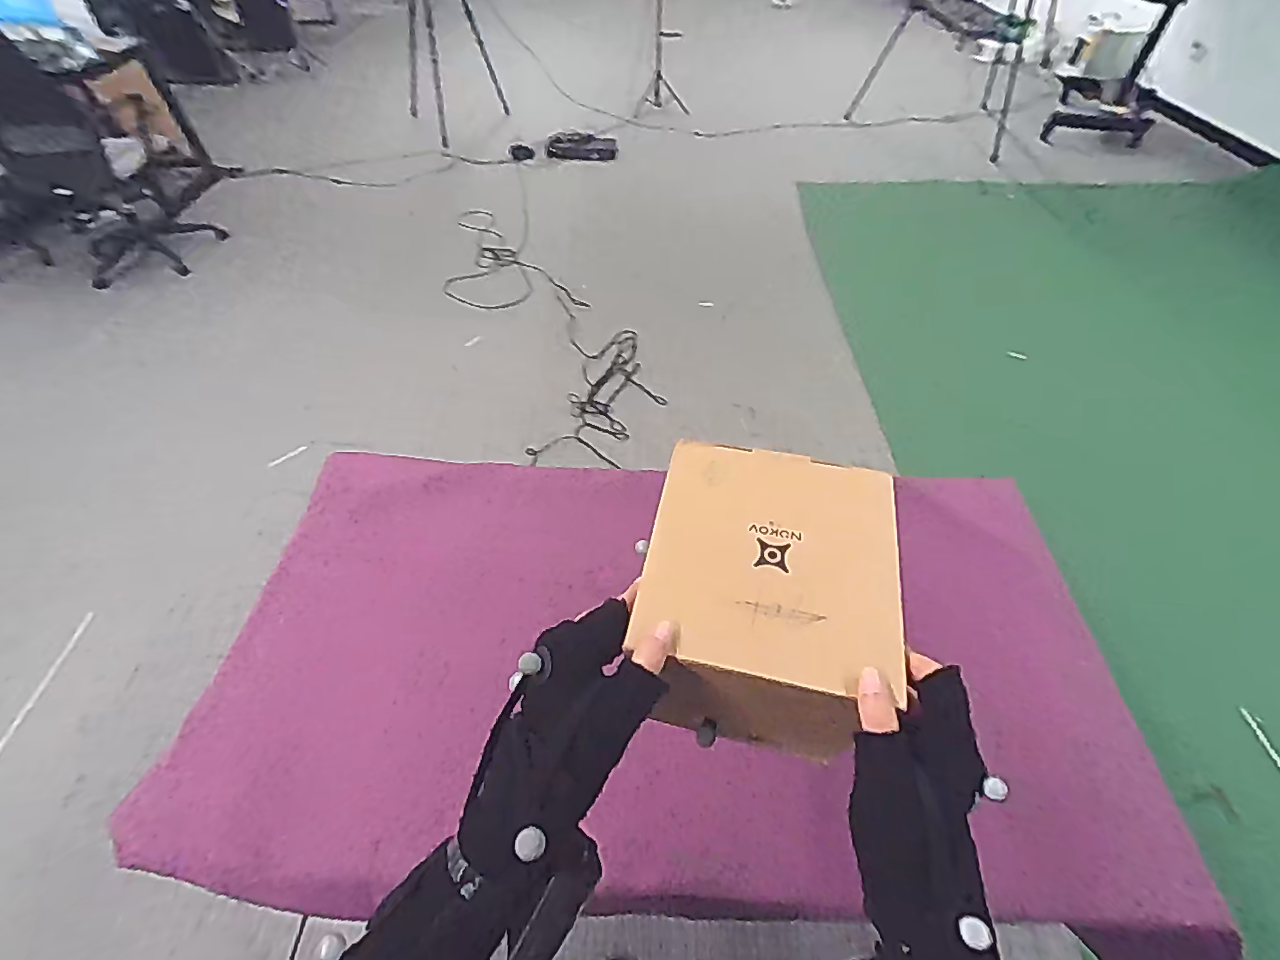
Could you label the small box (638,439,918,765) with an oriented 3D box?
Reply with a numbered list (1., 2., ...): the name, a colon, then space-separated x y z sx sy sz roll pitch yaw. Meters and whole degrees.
1. small box: 0.095 0.098 0.424 0.168 0.176 0.179 10 54 8
